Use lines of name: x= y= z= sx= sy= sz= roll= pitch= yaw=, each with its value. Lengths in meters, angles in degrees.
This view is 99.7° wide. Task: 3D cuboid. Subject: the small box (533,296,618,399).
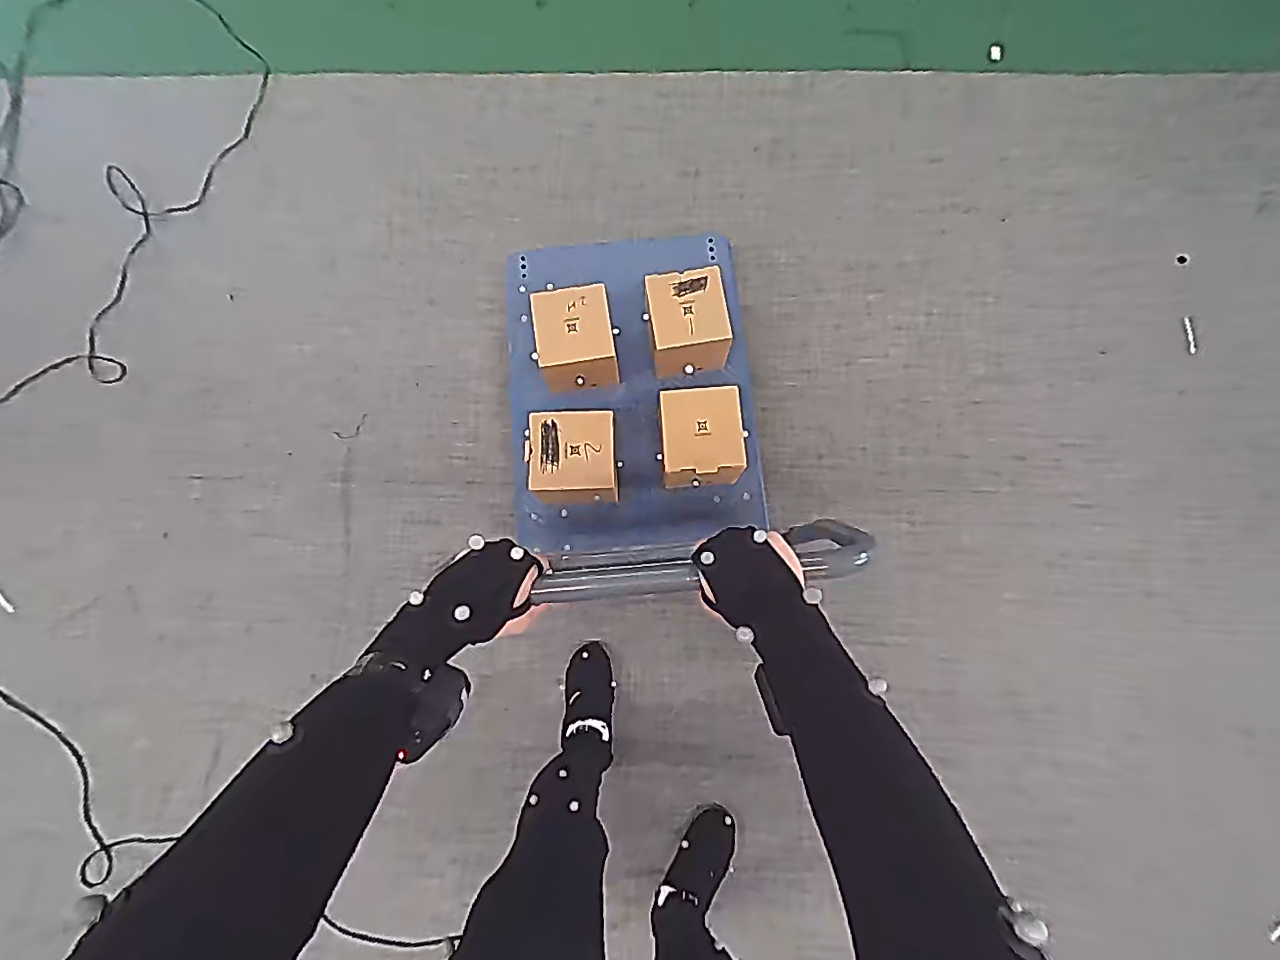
small box: x=-0.145 y=-0.299 z=1.260 sx=0.168 sy=0.176 sz=0.179 roll=-9 pitch=78 yaw=-2

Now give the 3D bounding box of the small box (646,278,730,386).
small box: x=0.104 y=-0.340 z=1.263 sx=0.168 sy=0.176 sz=0.179 roll=-9 pitch=79 yaw=0

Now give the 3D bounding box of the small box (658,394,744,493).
small box: x=0.129 y=-0.076 z=1.208 sx=0.168 sy=0.176 sz=0.179 roll=-4 pitch=78 yaw=0
